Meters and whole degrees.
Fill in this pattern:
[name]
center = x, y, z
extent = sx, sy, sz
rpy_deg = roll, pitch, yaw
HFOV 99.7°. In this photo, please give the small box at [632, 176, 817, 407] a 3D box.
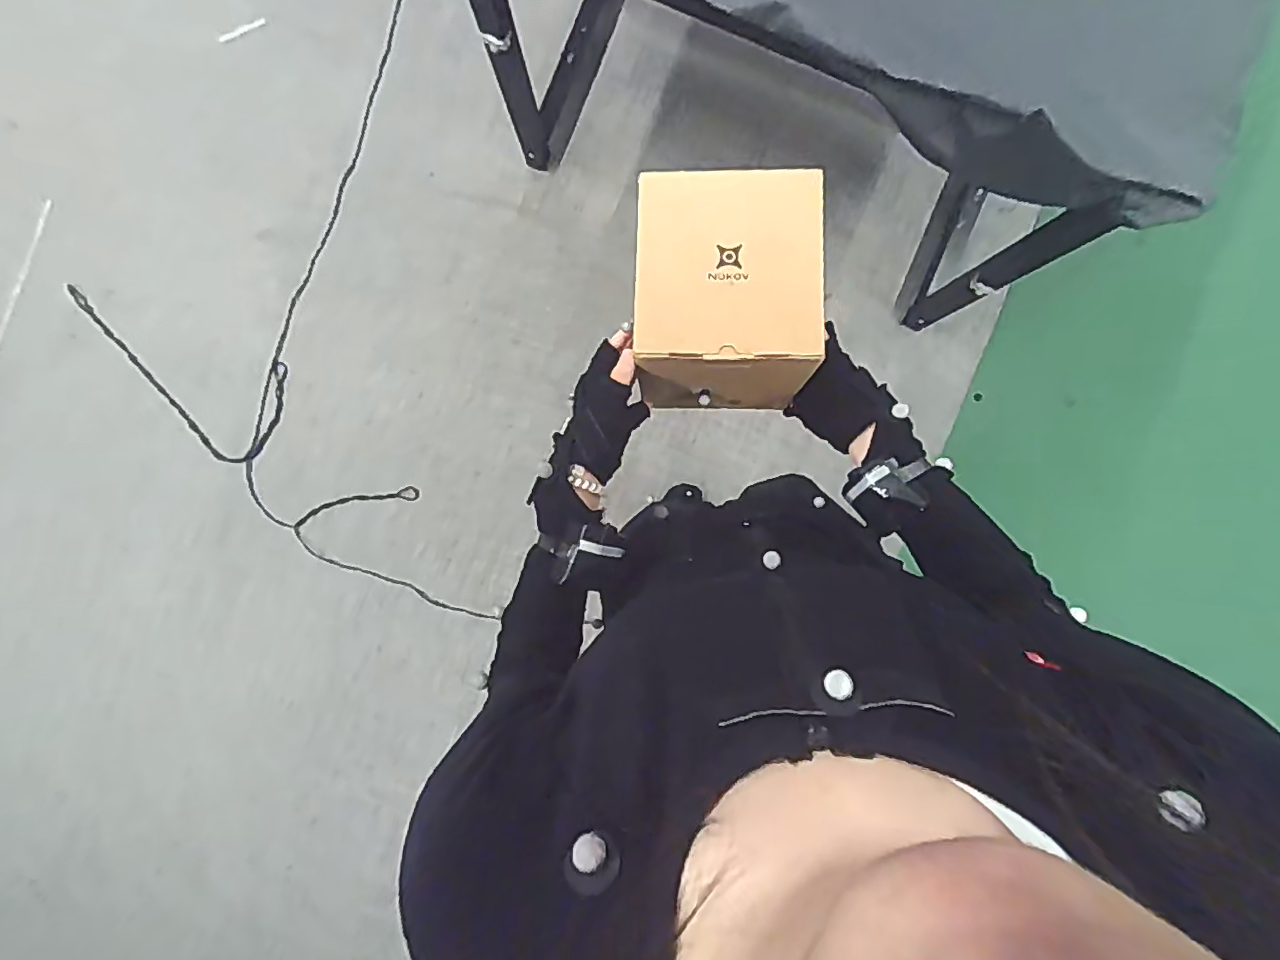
[small box]
center = 0.081, -0.185, 0.568
extent = 0.168, 0.176, 0.179
rpy_deg = 2, 84, 3
